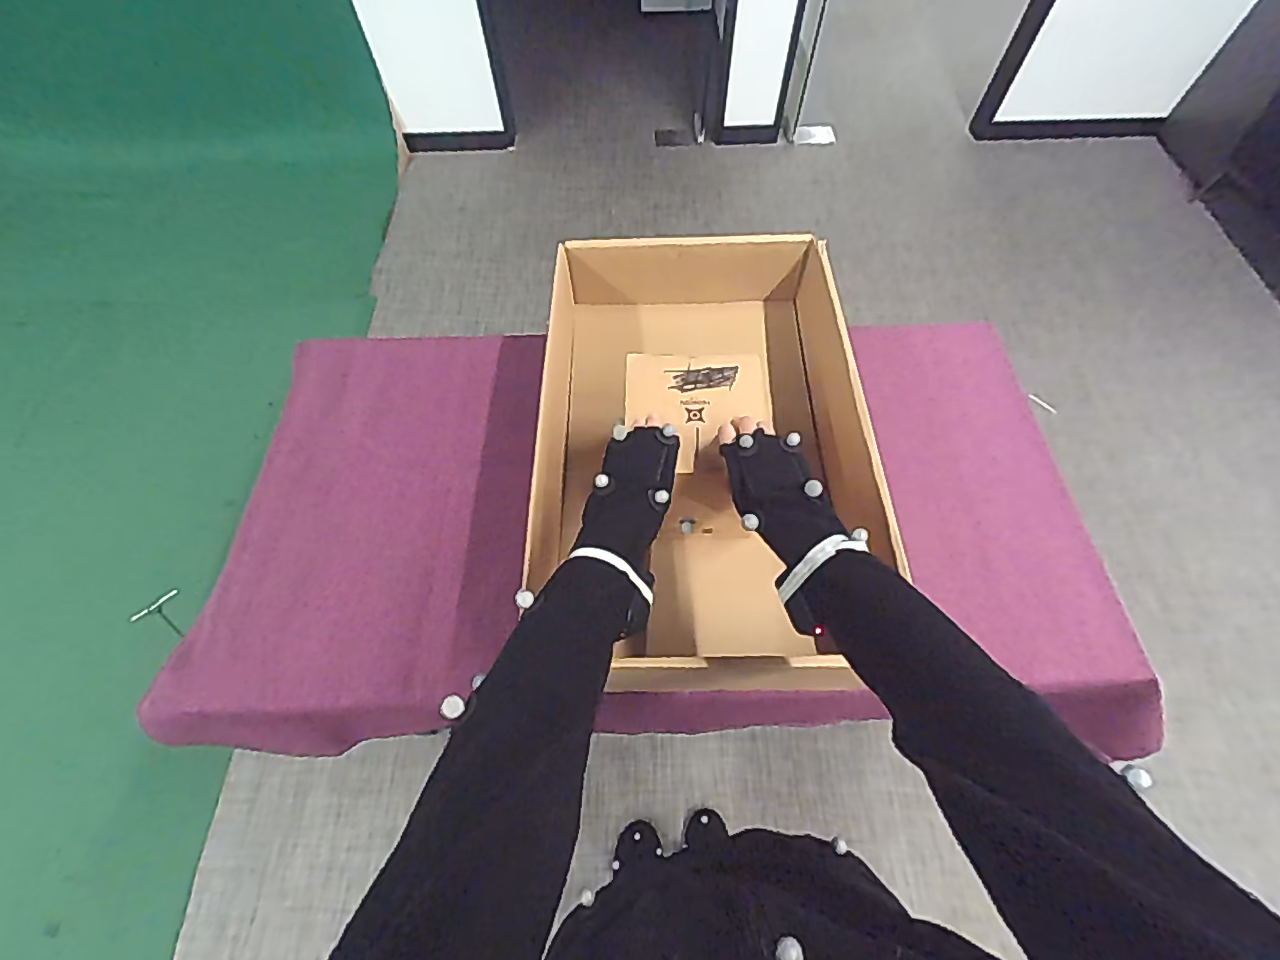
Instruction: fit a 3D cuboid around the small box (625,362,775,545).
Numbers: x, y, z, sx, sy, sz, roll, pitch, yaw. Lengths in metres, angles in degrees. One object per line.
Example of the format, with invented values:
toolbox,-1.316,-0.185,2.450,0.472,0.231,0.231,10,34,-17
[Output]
small box,0.067,-0.031,0.693,0.168,0.176,0.179,-1,60,1
